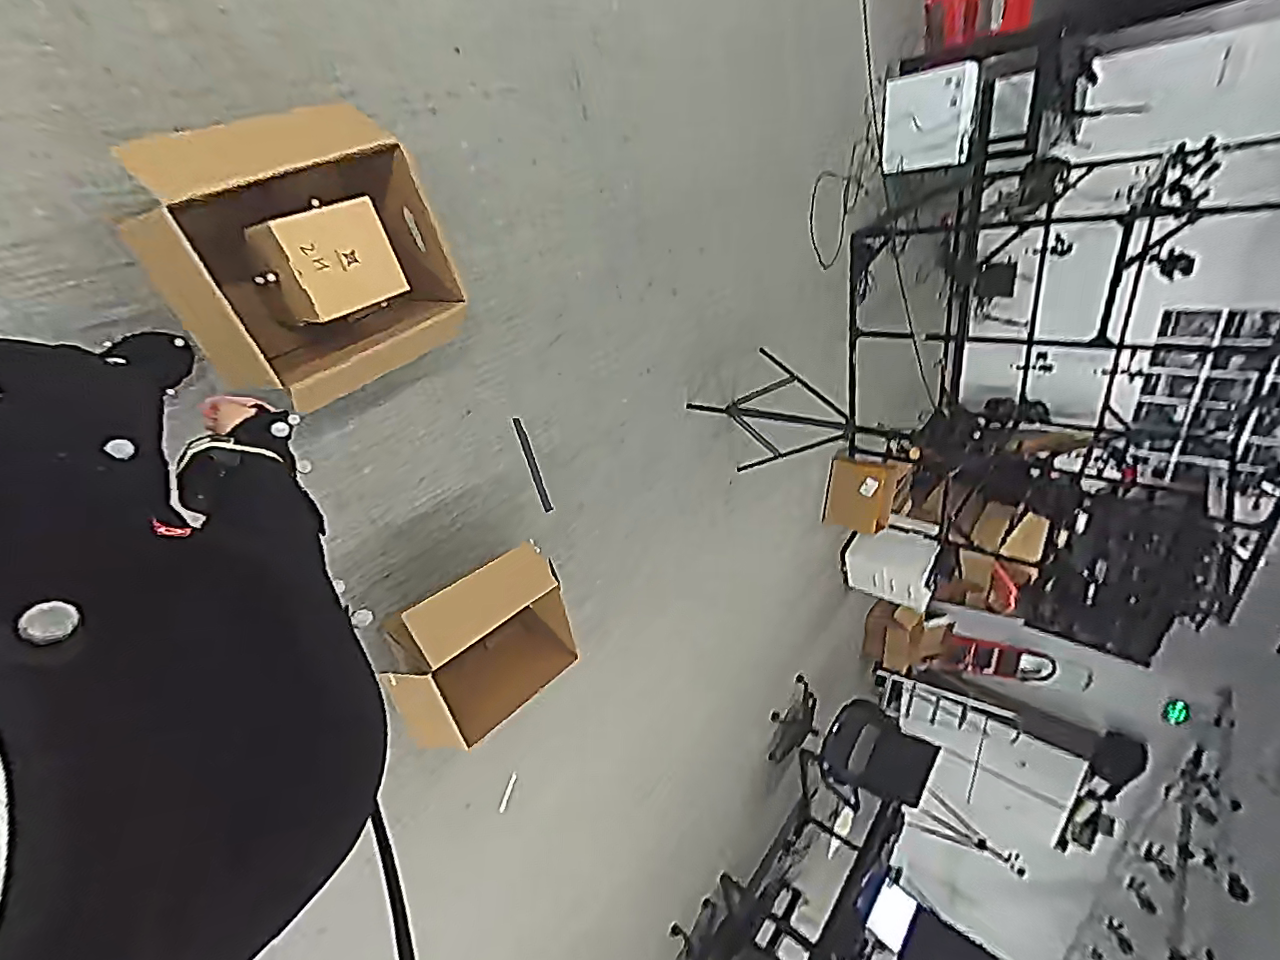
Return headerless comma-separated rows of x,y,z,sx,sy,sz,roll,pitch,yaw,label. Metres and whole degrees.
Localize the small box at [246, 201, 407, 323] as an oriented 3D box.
-0.574,-0.401,0.995,0.179,0.176,0.168,-39,129,-33,small box
